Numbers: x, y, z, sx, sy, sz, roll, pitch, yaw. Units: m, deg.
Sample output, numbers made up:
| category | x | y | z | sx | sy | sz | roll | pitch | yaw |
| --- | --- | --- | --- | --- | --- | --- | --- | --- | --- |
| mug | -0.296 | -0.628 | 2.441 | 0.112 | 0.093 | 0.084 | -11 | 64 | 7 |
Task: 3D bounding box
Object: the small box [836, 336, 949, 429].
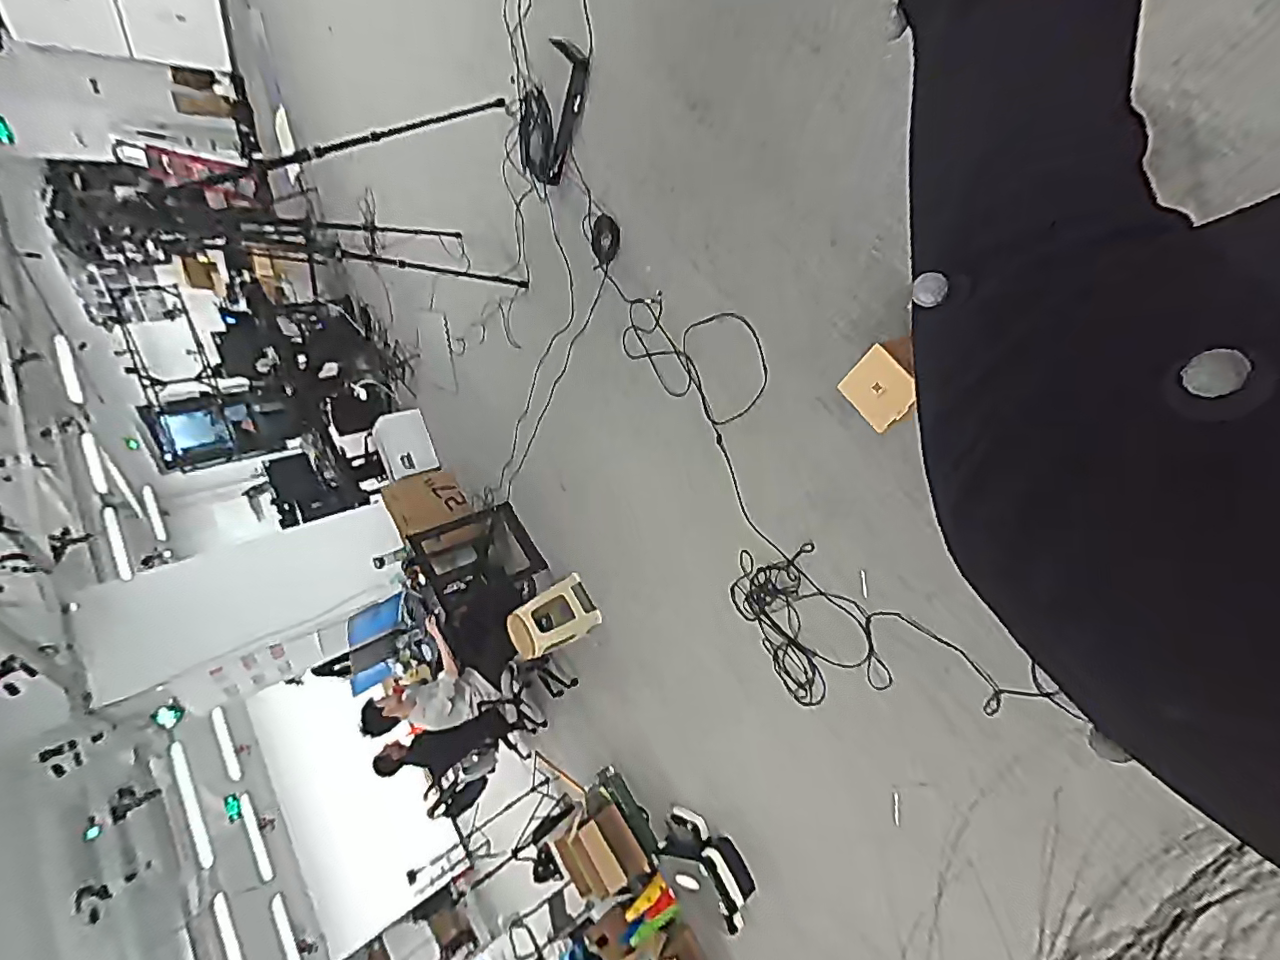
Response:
| category | x | y | z | sx | sy | sz | roll | pitch | yaw |
| --- | --- | --- | --- | --- | --- | --- | --- | --- | --- |
| small box | 0.668 | -0.264 | 1.434 | 0.179 | 0.176 | 0.168 | 55 | 142 | 19 |
